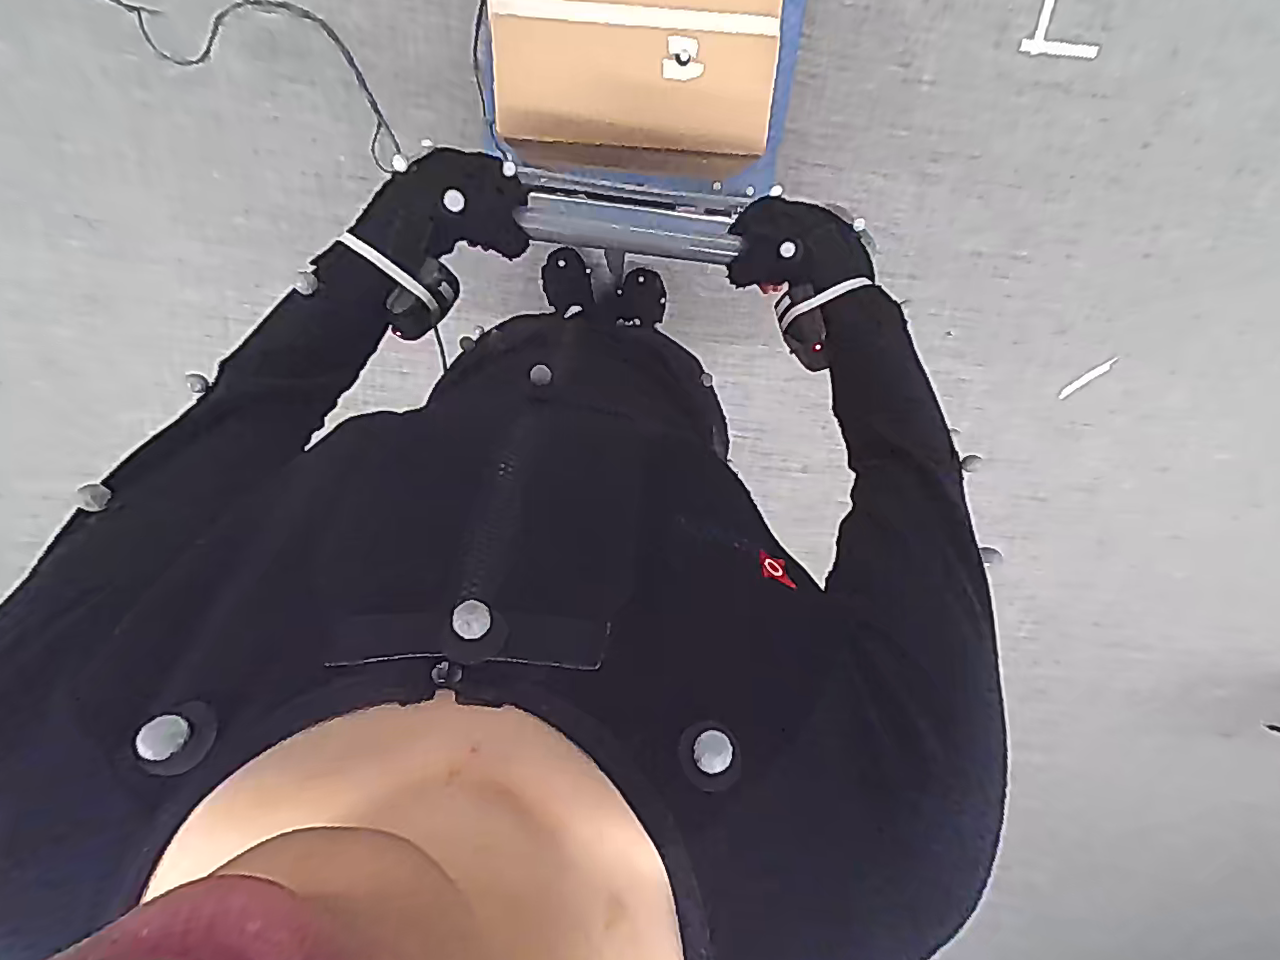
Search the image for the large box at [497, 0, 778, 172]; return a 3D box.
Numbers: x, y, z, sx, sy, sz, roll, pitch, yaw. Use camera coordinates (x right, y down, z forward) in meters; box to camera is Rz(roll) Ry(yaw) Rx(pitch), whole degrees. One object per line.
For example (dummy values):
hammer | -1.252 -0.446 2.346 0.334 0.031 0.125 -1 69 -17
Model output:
large box | -0.012 -0.715 0.901 0.408 0.320 0.320 1 114 -4
